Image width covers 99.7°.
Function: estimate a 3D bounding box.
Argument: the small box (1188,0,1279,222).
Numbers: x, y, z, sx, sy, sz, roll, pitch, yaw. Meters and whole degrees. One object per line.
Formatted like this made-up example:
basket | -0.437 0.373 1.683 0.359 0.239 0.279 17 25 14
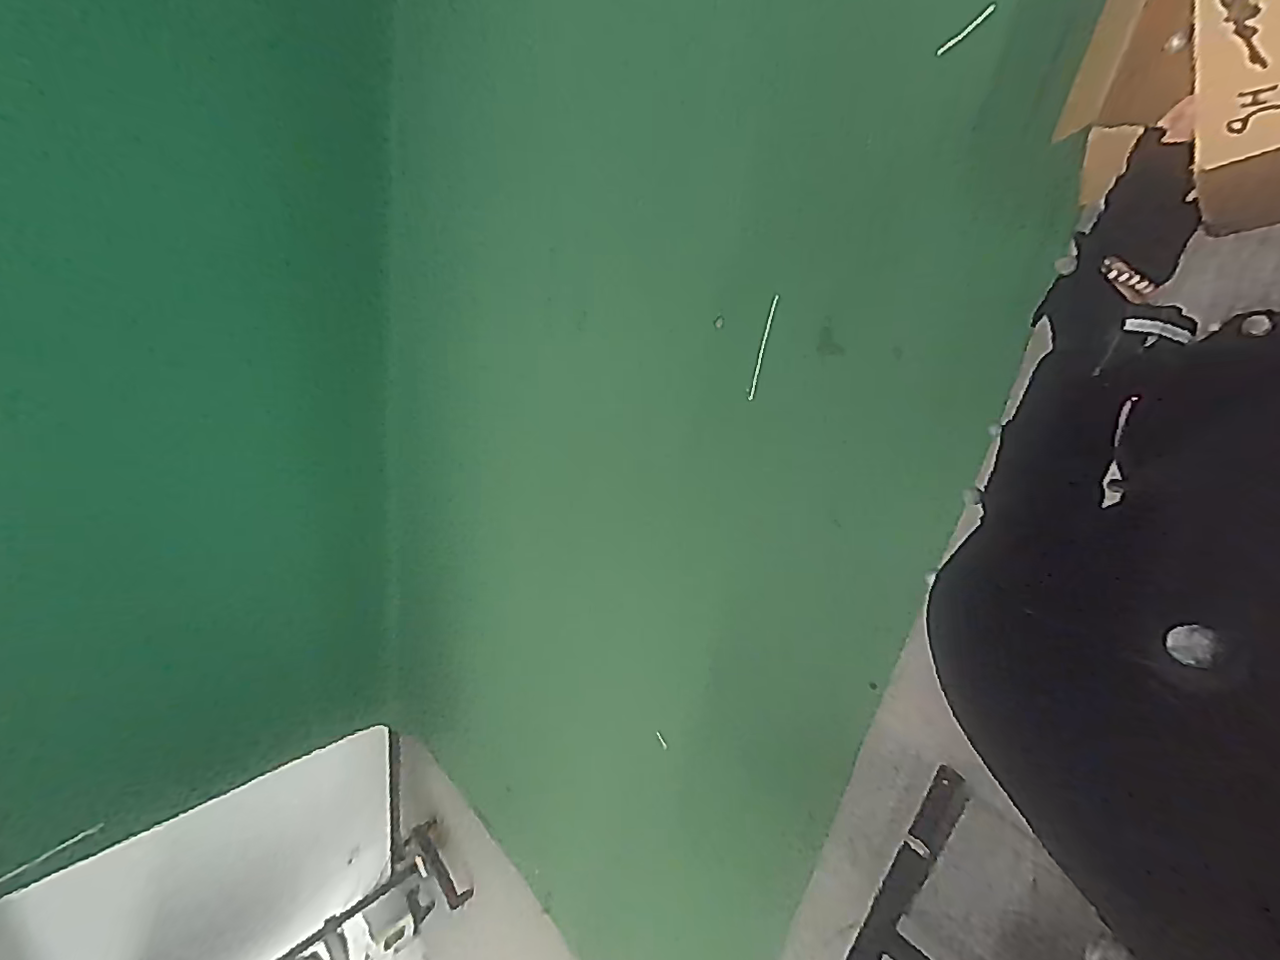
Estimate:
small box | 0.479 -0.293 0.345 0.179 0.176 0.168 2 93 47
